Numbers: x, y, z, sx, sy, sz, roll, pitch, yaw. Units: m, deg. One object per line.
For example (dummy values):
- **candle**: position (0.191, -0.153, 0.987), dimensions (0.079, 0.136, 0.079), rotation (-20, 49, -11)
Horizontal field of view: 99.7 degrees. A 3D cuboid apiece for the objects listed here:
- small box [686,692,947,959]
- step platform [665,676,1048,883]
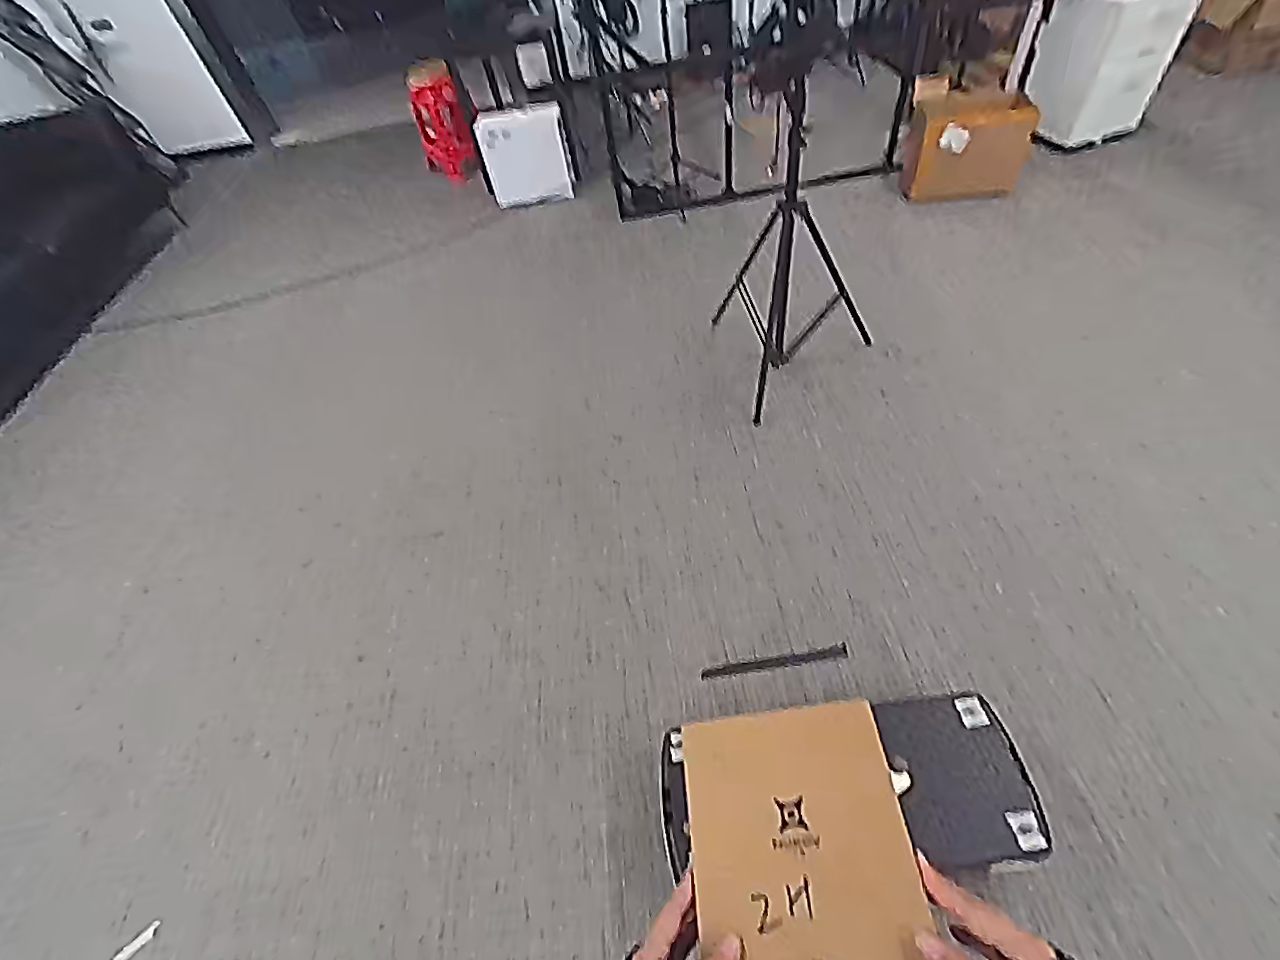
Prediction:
- **small box**: position (0.146, 0.310, 0.479), dimensions (0.168, 0.176, 0.179), rotation (-14, 50, 14)
- **step platform**: position (0.392, 0.595, 1.079), dimensions (0.684, 0.204, 0.286), rotation (-9, 50, 3)
